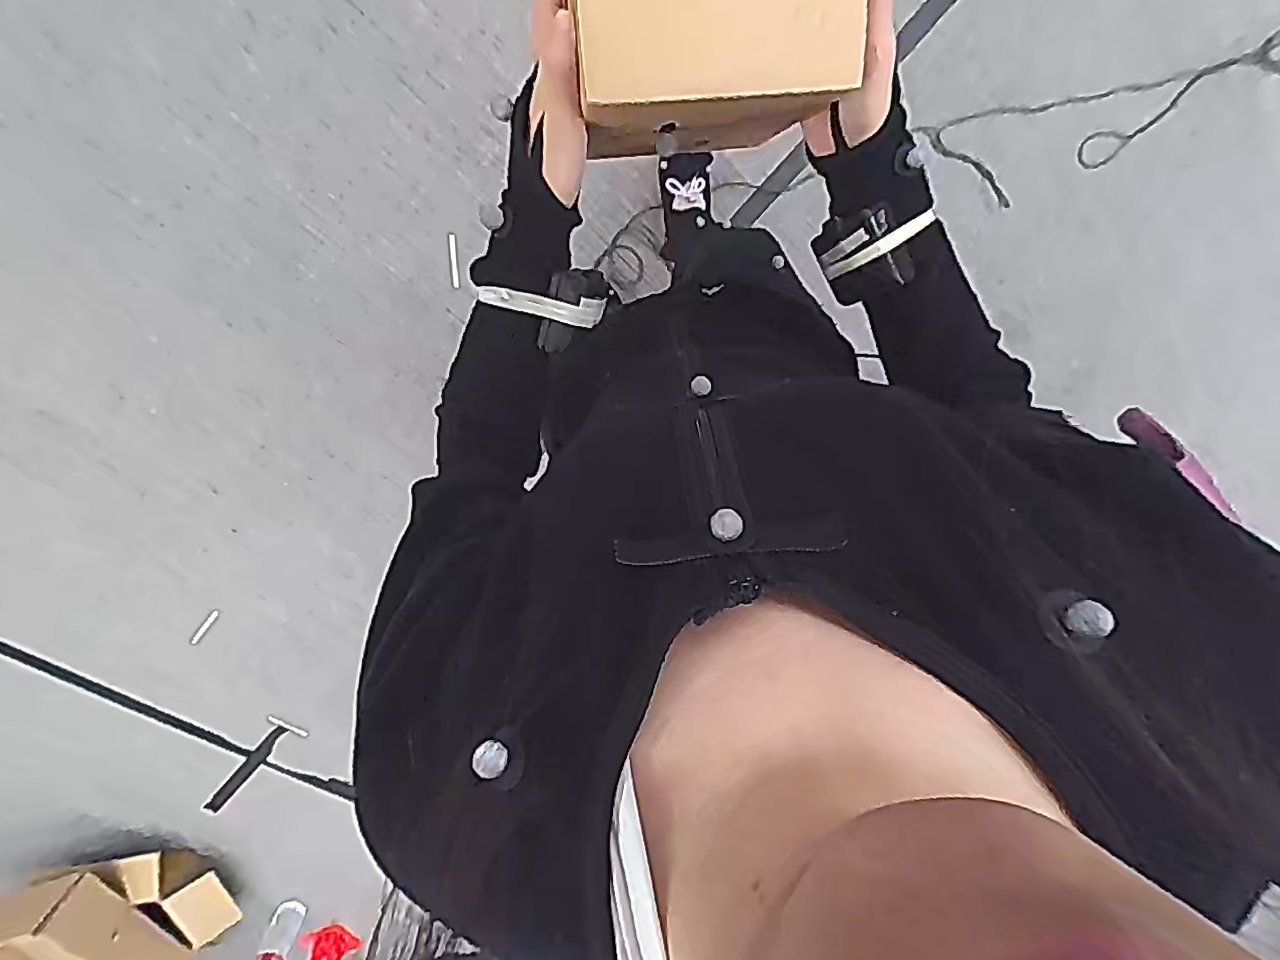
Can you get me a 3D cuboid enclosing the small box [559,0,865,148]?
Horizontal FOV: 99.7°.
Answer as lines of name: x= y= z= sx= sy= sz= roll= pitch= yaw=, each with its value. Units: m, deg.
small box: x=0.032 y=-0.333 z=0.353 sx=0.168 sy=0.176 sz=0.179 roll=-8 pitch=111 yaw=-6
